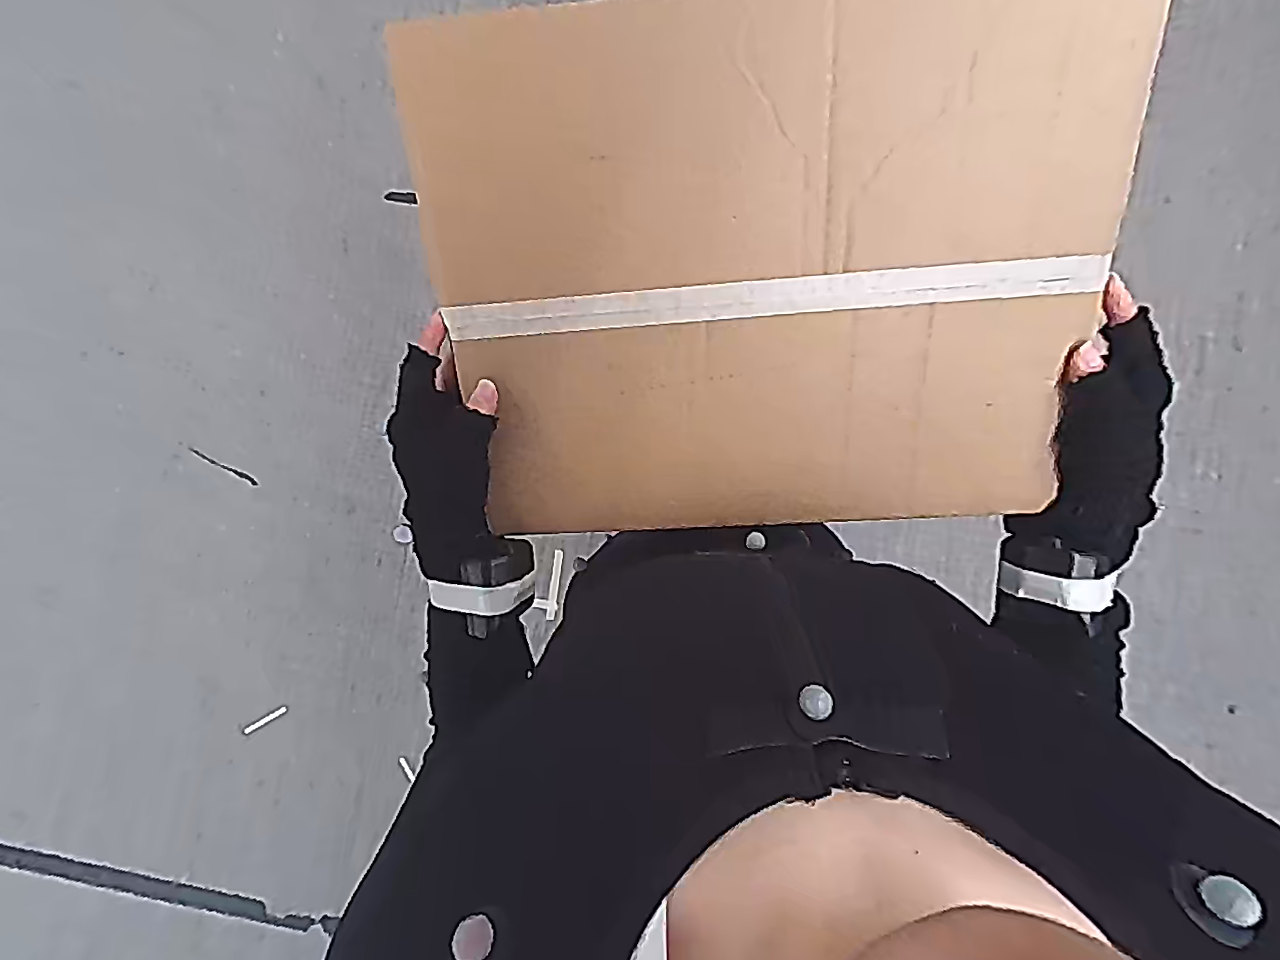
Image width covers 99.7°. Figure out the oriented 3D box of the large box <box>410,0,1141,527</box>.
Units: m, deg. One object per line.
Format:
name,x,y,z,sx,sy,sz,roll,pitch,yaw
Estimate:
large box,0.082,-0.171,0.485,0.408,0.320,0.320,-3,113,4
